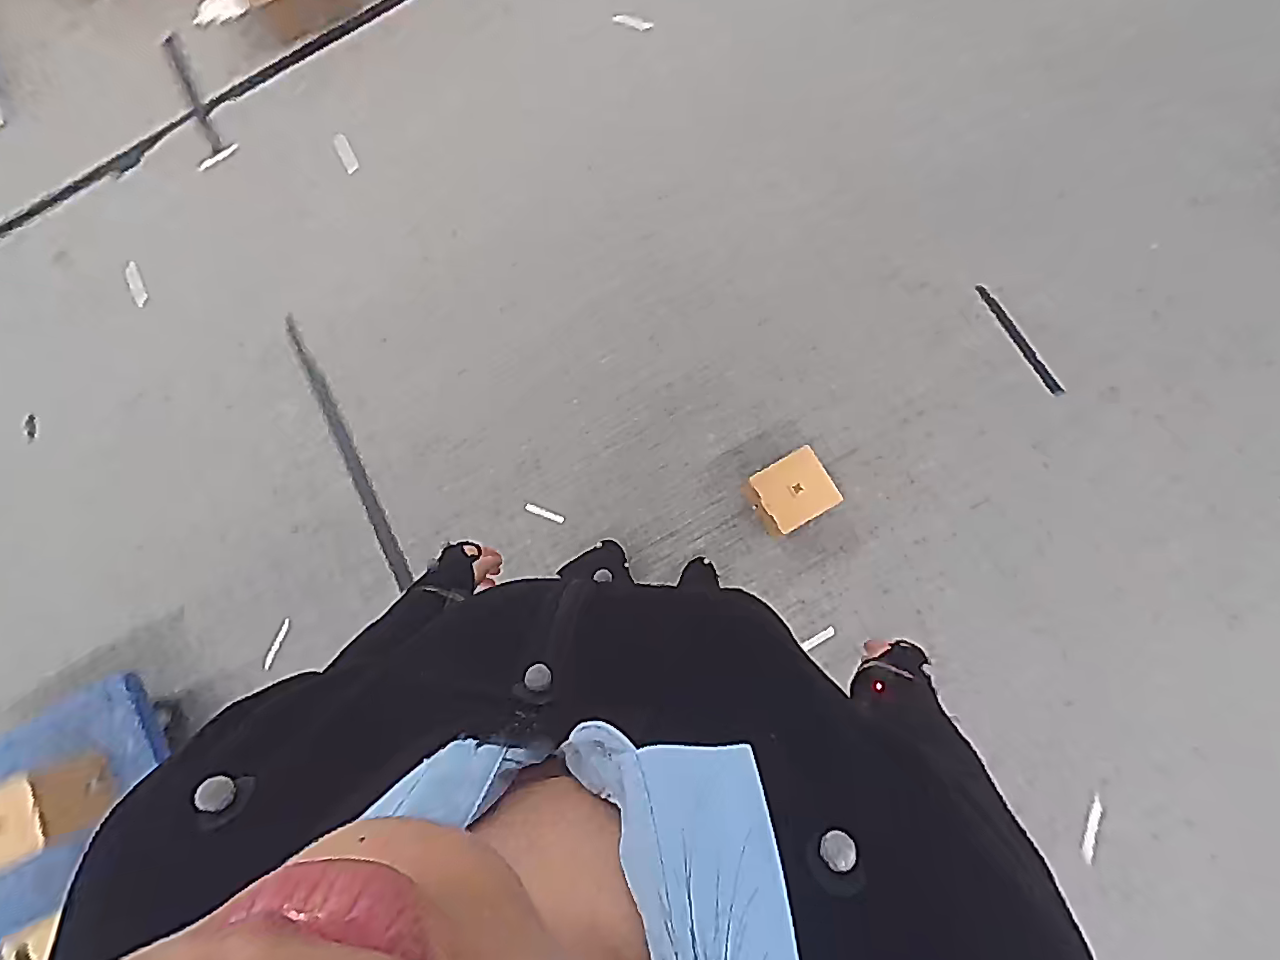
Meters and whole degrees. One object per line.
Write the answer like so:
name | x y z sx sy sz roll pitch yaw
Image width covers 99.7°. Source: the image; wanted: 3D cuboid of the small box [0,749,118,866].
small box | -1.396 0.766 1.262 0.179 0.176 0.168 -26 82 1

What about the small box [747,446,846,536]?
small box | 0.398 0.035 1.409 0.179 0.176 0.168 -30 81 1
